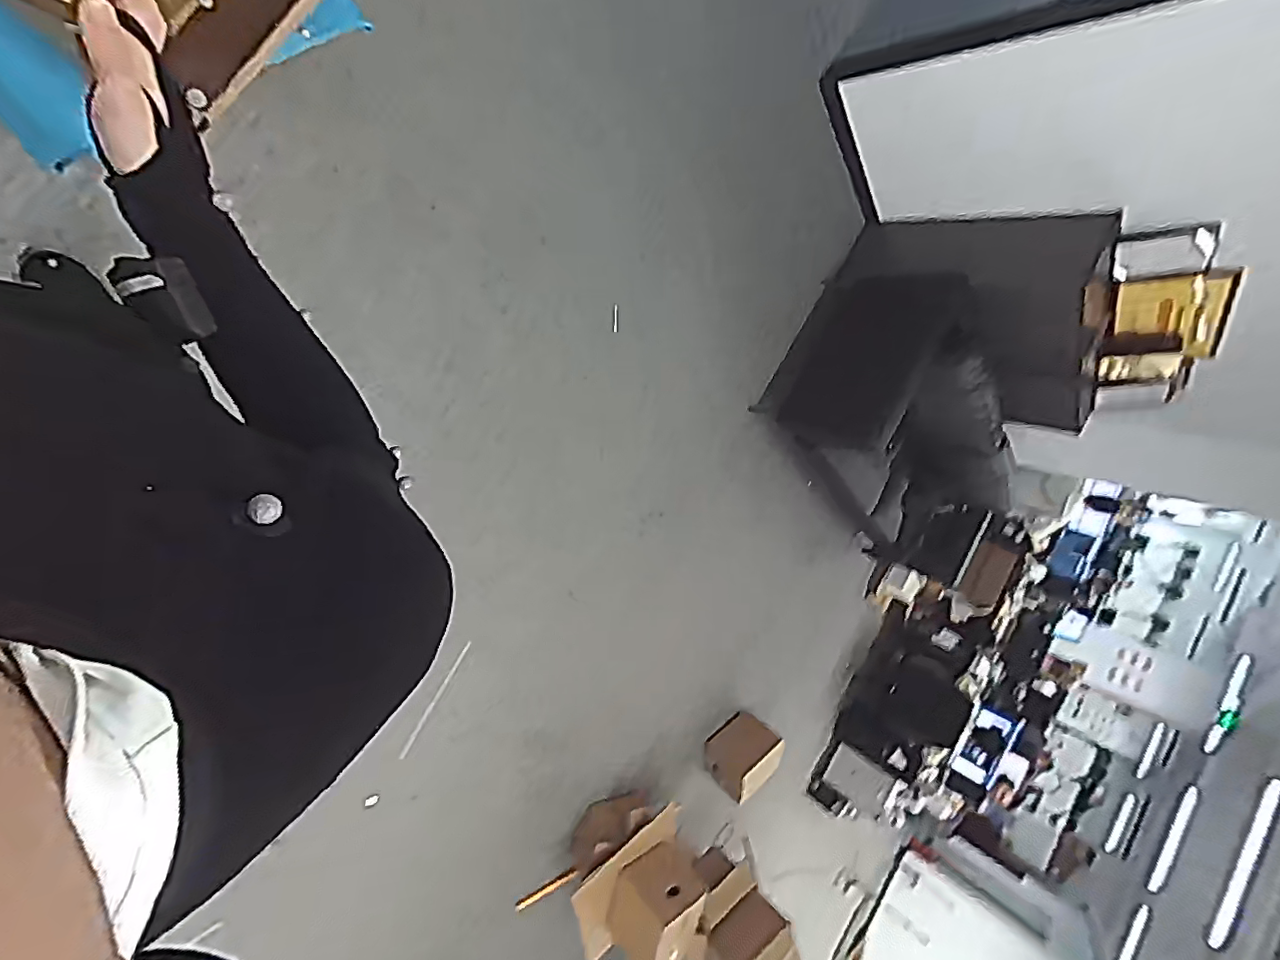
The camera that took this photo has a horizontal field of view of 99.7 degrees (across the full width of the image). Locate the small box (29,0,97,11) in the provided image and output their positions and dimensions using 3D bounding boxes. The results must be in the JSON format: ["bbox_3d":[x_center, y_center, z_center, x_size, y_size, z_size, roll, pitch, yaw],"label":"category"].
[{"bbox_3d":[-0.400,-0.383,0.275,0.179,0.176,0.168,3,116,-45],"label":"small box"}]
